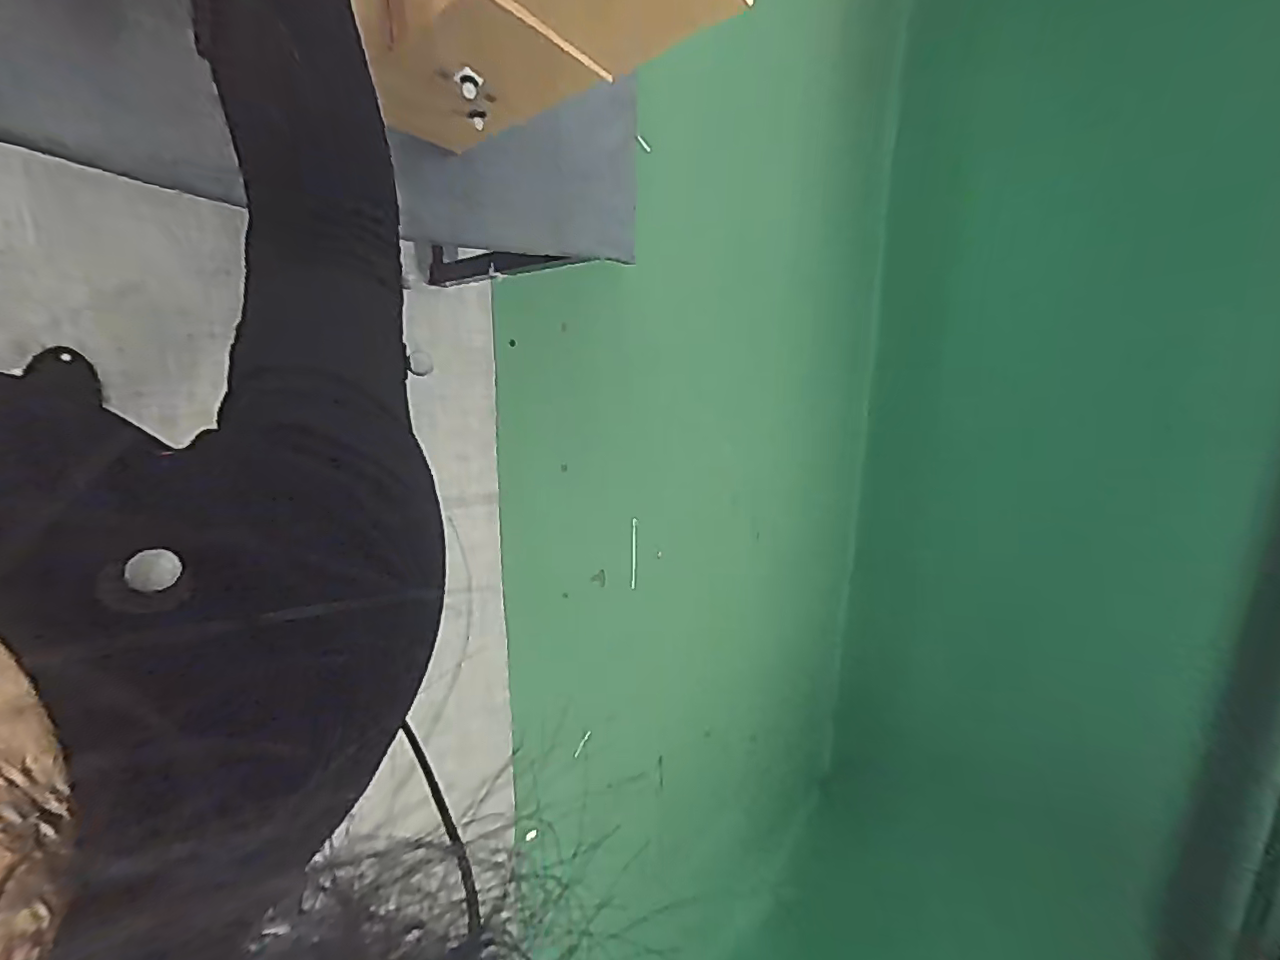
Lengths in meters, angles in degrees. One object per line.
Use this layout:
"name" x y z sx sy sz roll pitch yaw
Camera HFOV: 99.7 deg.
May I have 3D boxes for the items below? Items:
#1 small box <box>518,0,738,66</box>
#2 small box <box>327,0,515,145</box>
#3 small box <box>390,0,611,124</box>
"small box" -0.019 -0.492 0.443 0.179 0.176 0.168 0 97 -46
"small box" -0.258 -0.540 0.660 0.179 0.176 0.168 -5 101 -47
"small box" -0.139 -0.511 0.552 0.168 0.176 0.179 -3 101 -46
